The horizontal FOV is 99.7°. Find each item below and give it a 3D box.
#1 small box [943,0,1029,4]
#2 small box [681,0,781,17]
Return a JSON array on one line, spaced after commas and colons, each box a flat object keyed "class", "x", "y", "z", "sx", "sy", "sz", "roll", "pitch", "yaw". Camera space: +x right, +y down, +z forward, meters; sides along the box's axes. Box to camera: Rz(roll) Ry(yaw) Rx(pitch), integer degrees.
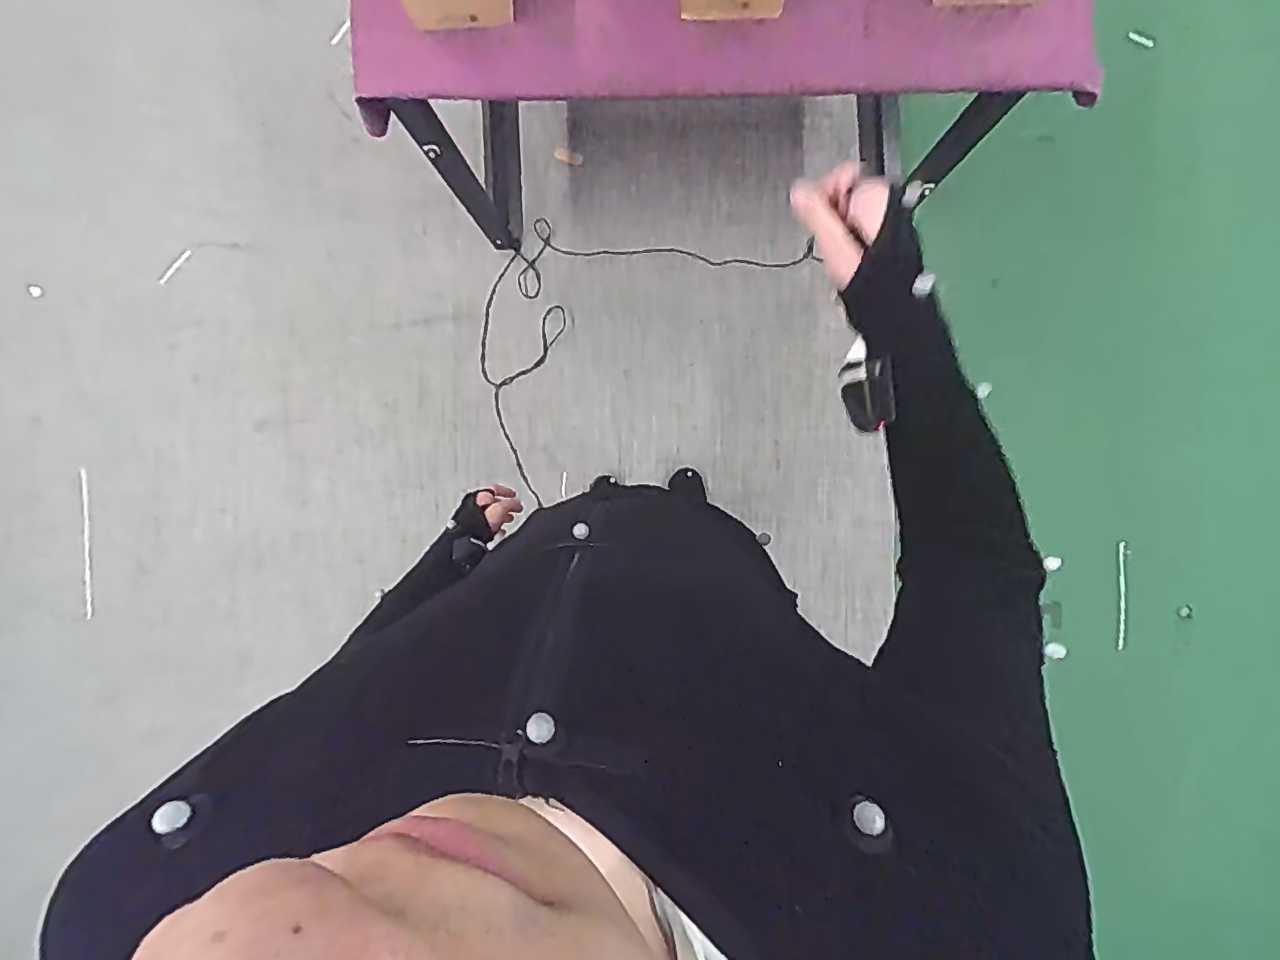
[{"class": "small box", "x": 0.549, "y": -0.851, "z": 0.784, "sx": 0.168, "sy": 0.176, "sz": 0.179, "roll": 2, "pitch": 90, "yaw": 3}, {"class": "small box", "x": 0.146, "y": -0.847, "z": 0.803, "sx": 0.168, "sy": 0.176, "sz": 0.179, "roll": 1, "pitch": 91, "yaw": 2}]
